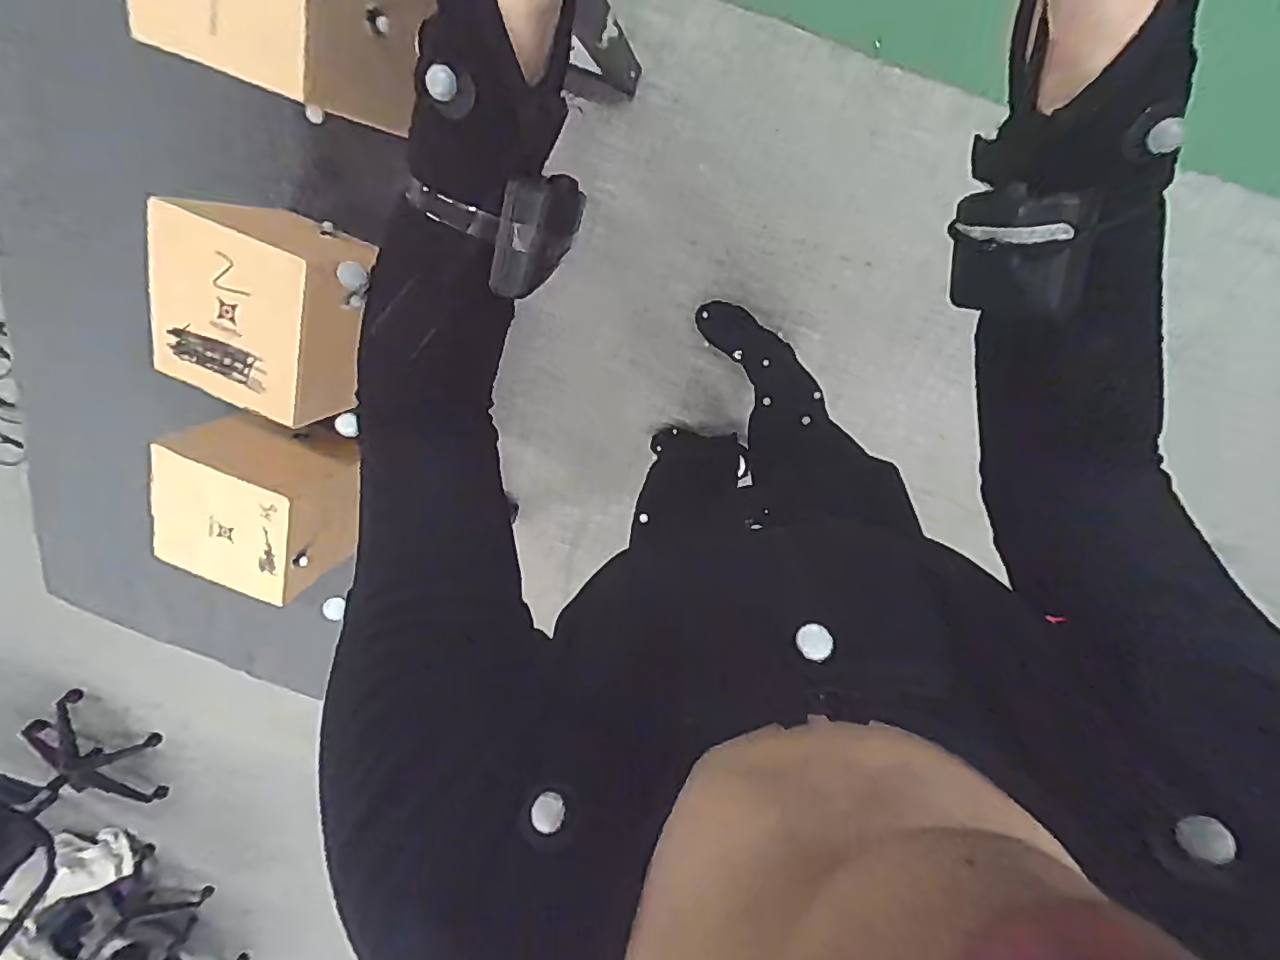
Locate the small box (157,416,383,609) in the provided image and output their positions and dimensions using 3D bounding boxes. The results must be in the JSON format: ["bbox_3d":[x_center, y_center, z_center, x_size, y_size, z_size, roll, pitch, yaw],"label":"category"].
[{"bbox_3d":[-0.476,0.030,0.711,0.179,0.176,0.168,23,116,2],"label":"small box"}]

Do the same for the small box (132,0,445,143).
[{"bbox_3d":[-0.293,-0.432,0.477,0.168,0.176,0.179,23,116,3],"label":"small box"}]
